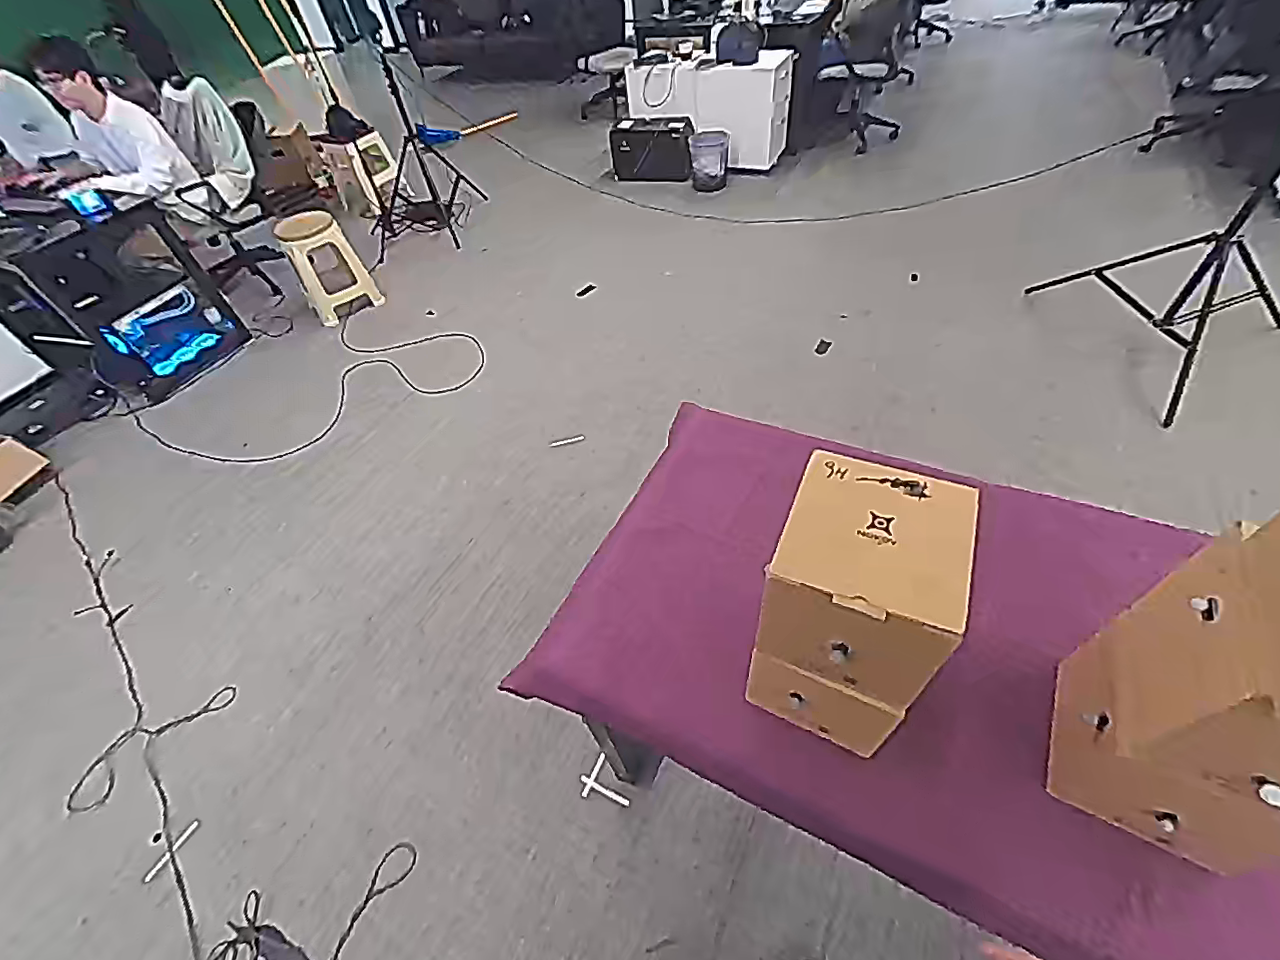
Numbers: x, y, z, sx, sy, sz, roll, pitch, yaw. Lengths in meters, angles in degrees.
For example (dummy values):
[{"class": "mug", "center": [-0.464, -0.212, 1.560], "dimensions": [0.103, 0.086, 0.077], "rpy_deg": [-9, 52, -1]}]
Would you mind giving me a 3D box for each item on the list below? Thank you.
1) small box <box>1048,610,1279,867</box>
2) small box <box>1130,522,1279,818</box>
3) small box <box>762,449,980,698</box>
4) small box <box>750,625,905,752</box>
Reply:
[{"class": "small box", "center": [0.581, 0.283, 0.589], "dimensions": [0.168, 0.176, 0.179], "rpy_deg": [21, 55, 23]}, {"class": "small box", "center": [0.569, 0.174, 0.467], "dimensions": [0.168, 0.176, 0.179], "rpy_deg": [20, 55, 23]}, {"class": "small box", "center": [0.235, 0.101, 0.576], "dimensions": [0.168, 0.176, 0.179], "rpy_deg": [17, 53, 20]}, {"class": "small box", "center": [0.248, 0.214, 0.694], "dimensions": [0.168, 0.176, 0.179], "rpy_deg": [19, 53, 22]}]
